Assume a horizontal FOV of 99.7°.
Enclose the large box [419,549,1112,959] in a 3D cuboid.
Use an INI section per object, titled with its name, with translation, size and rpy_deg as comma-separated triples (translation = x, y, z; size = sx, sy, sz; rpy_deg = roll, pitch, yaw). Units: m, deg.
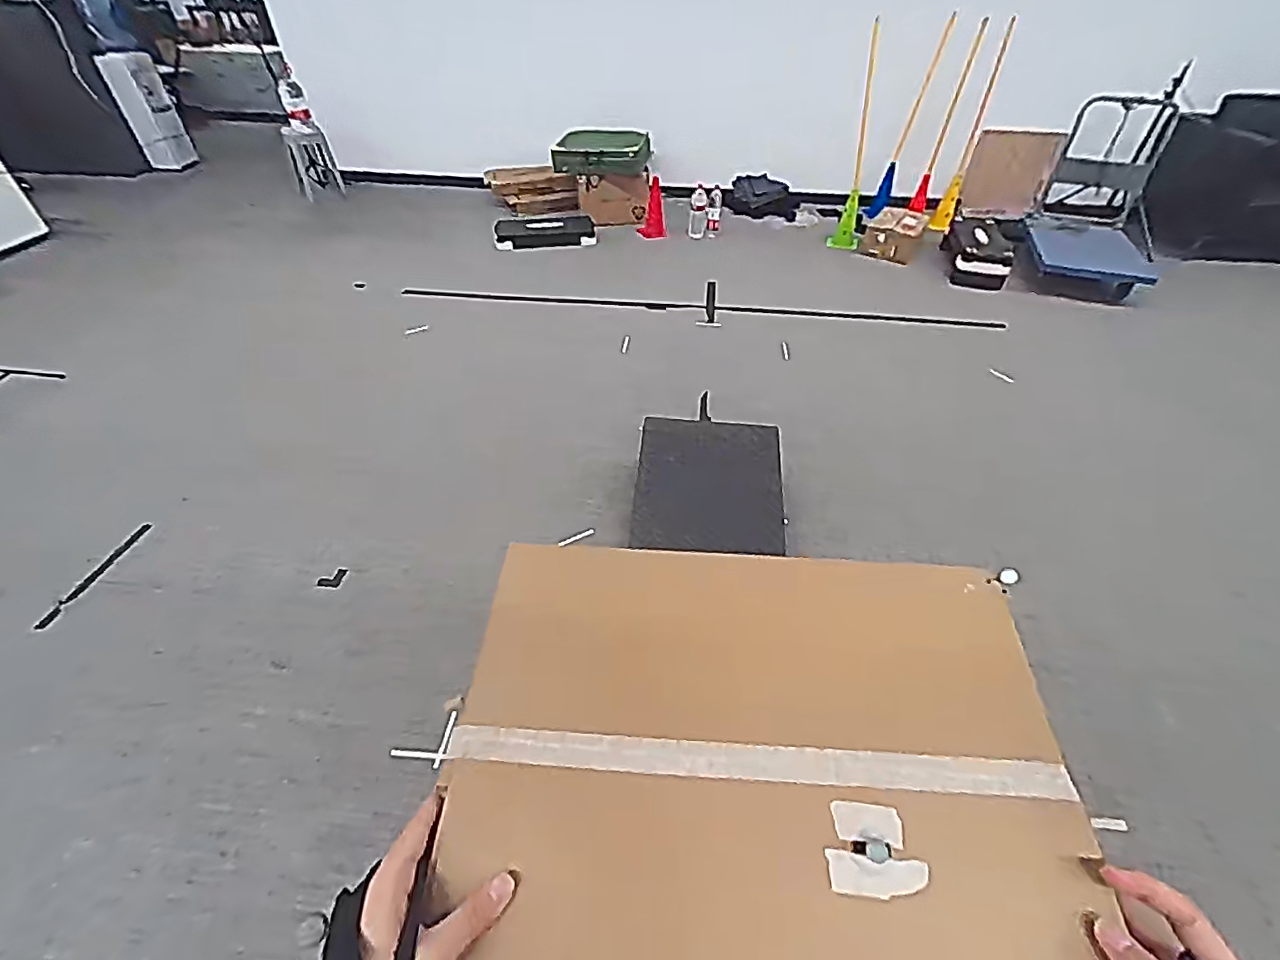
[large box]
translation = 0.077, 0.279, 0.491
size = 0.408, 0.320, 0.320
rpy_deg = 3, 54, 3
